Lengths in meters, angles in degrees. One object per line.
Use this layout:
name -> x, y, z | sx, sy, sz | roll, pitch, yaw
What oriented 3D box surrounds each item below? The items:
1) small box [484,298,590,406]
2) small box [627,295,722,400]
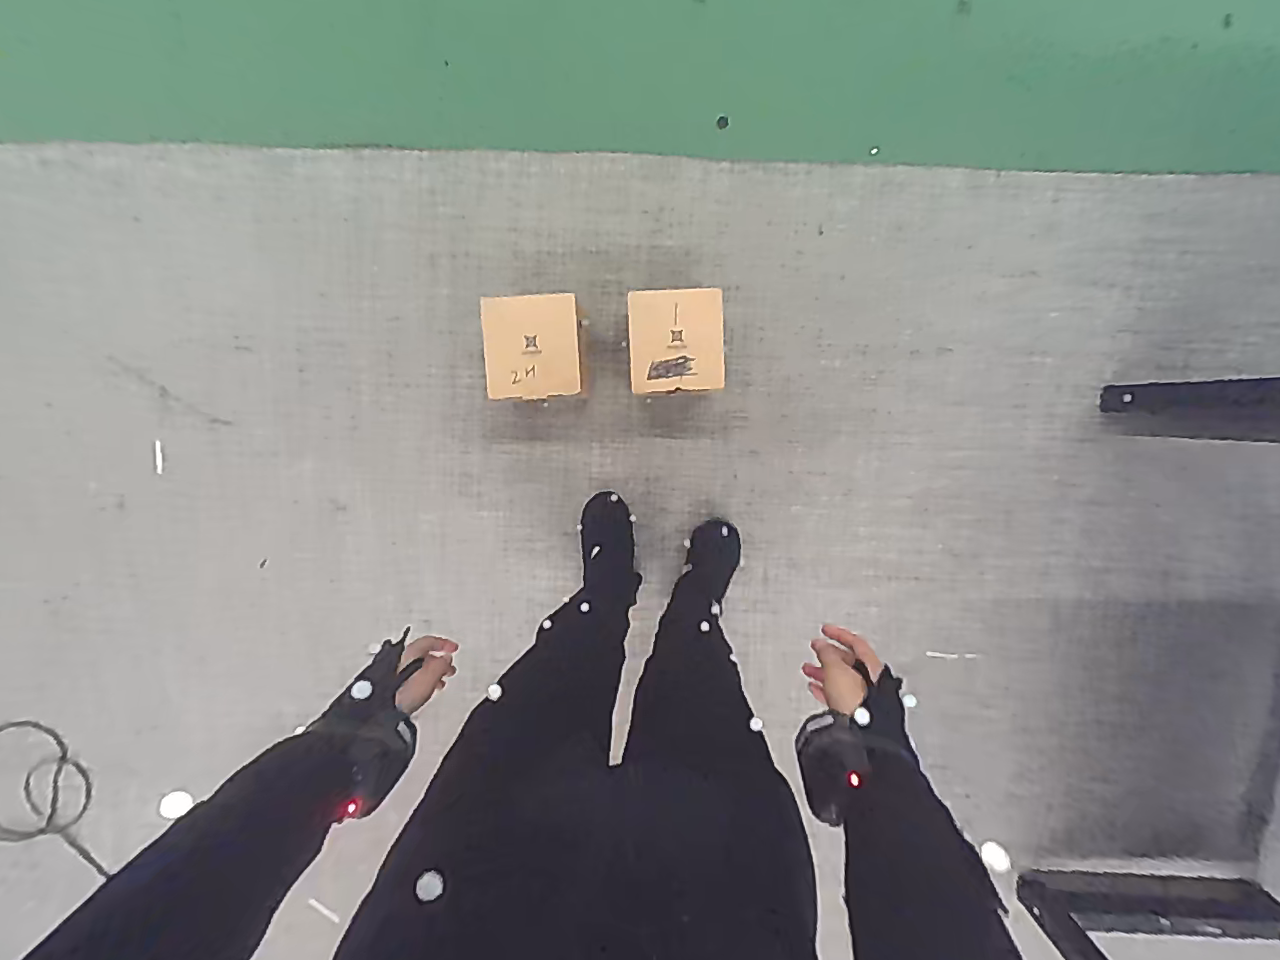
small box -> -0.187, -0.233, 1.021 | 0.168, 0.176, 0.179 | -3, 97, 1
small box -> 0.062, -0.241, 1.020 | 0.168, 0.176, 0.179 | -2, 96, 0
